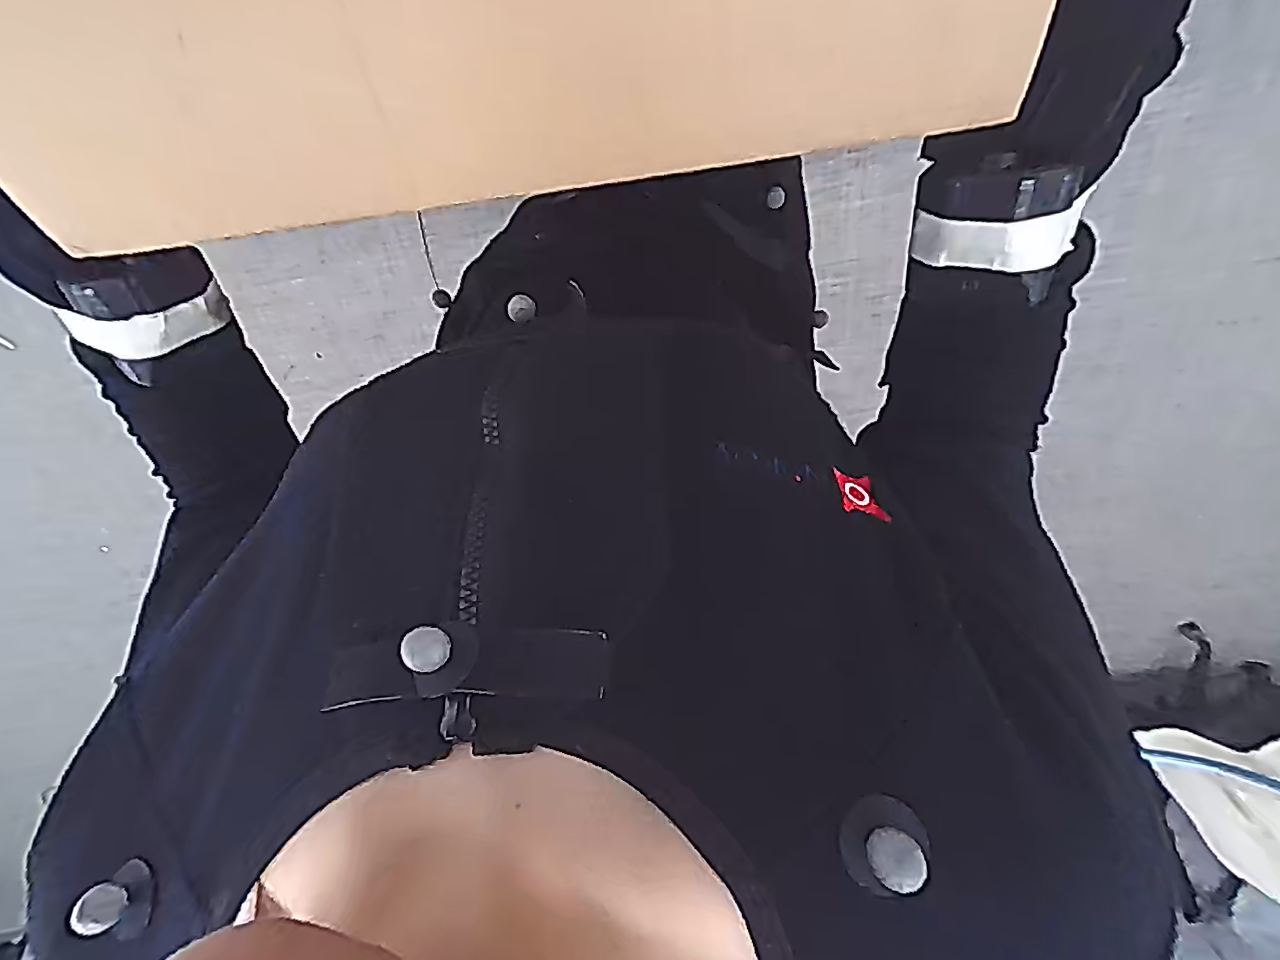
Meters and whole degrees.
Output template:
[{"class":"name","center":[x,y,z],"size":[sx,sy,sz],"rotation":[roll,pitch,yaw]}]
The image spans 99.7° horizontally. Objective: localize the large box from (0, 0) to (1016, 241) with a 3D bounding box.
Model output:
[{"class":"large box","center":[-0.079,-0.345,0.221],"size":[0.408,0.320,0.320],"rotation":[-6,137,5]}]
